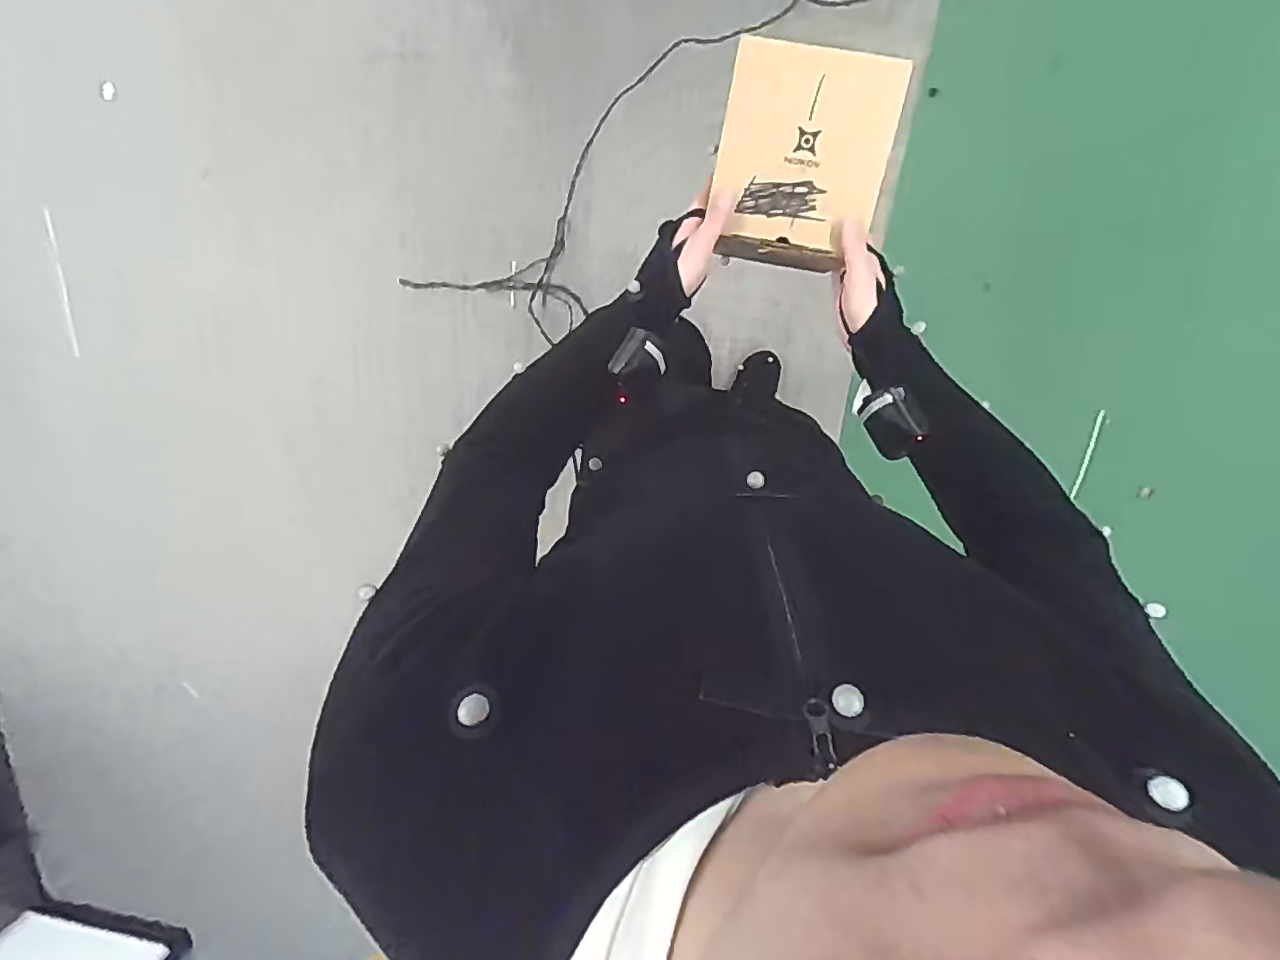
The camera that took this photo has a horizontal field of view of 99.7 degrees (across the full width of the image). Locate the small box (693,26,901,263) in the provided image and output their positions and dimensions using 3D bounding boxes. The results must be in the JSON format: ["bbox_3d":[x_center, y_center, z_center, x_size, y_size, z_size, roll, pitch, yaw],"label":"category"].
[{"bbox_3d":[0.158,-0.352,0.605,0.168,0.176,0.179,11,106,2],"label":"small box"}]
